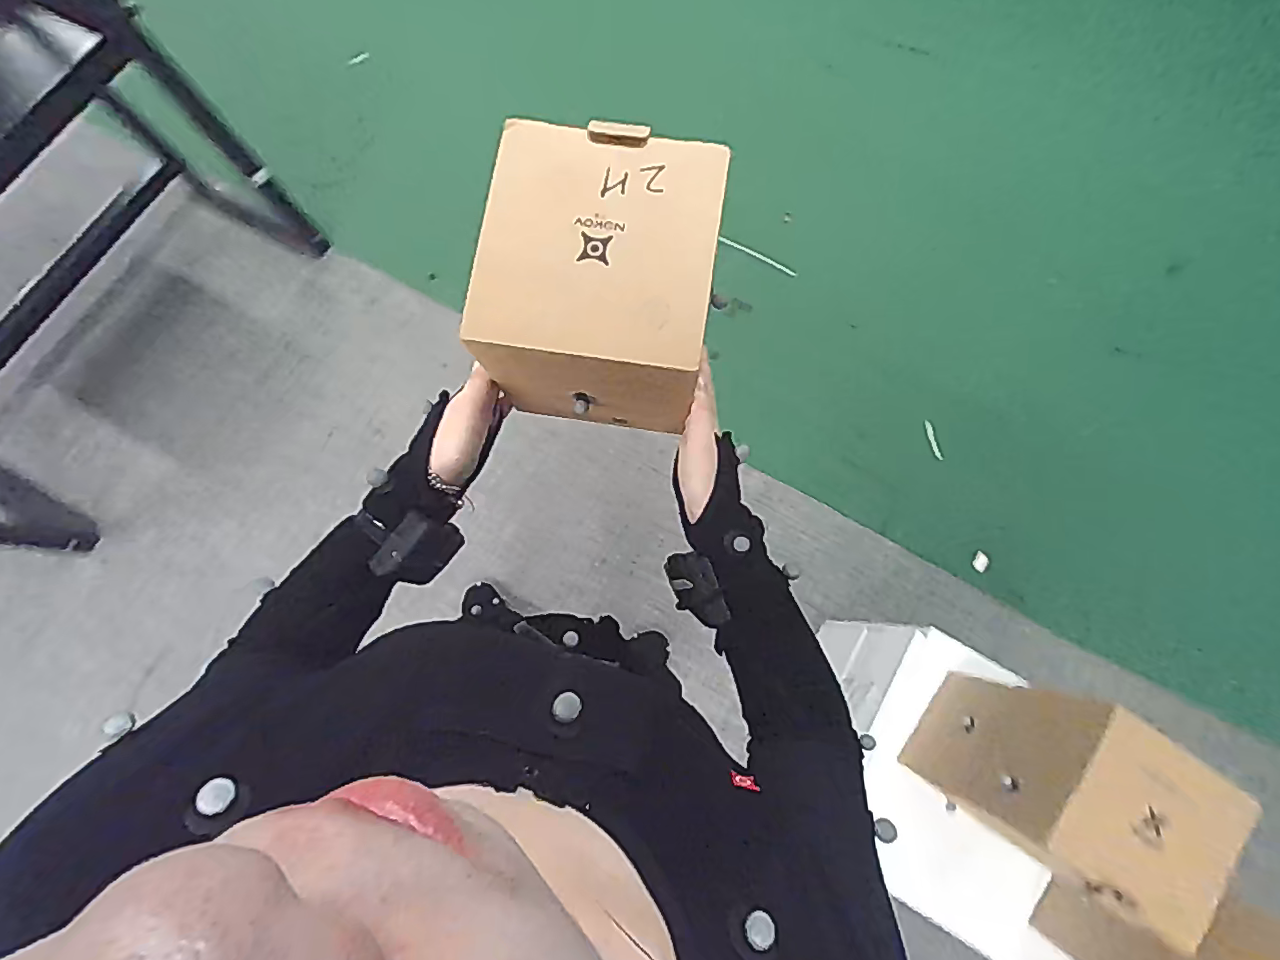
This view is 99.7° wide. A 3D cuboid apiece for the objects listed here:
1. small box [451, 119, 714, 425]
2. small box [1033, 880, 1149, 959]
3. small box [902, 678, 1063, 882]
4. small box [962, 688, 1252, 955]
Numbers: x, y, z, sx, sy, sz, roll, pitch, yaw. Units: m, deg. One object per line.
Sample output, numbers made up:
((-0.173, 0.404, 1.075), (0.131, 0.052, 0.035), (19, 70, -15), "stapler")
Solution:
((-0.037, -0.156, 0.457), (0.168, 0.176, 0.179), (8, 80, 2), "small box")
((0.694, 0.637, 0.737), (0.168, 0.176, 0.179), (38, 79, 9), "small box")
((0.523, 0.417, 0.792), (0.168, 0.176, 0.179), (37, 80, 8), "small box")
((0.522, 0.375, 0.635), (0.168, 0.176, 0.179), (36, 79, 7), "small box")
